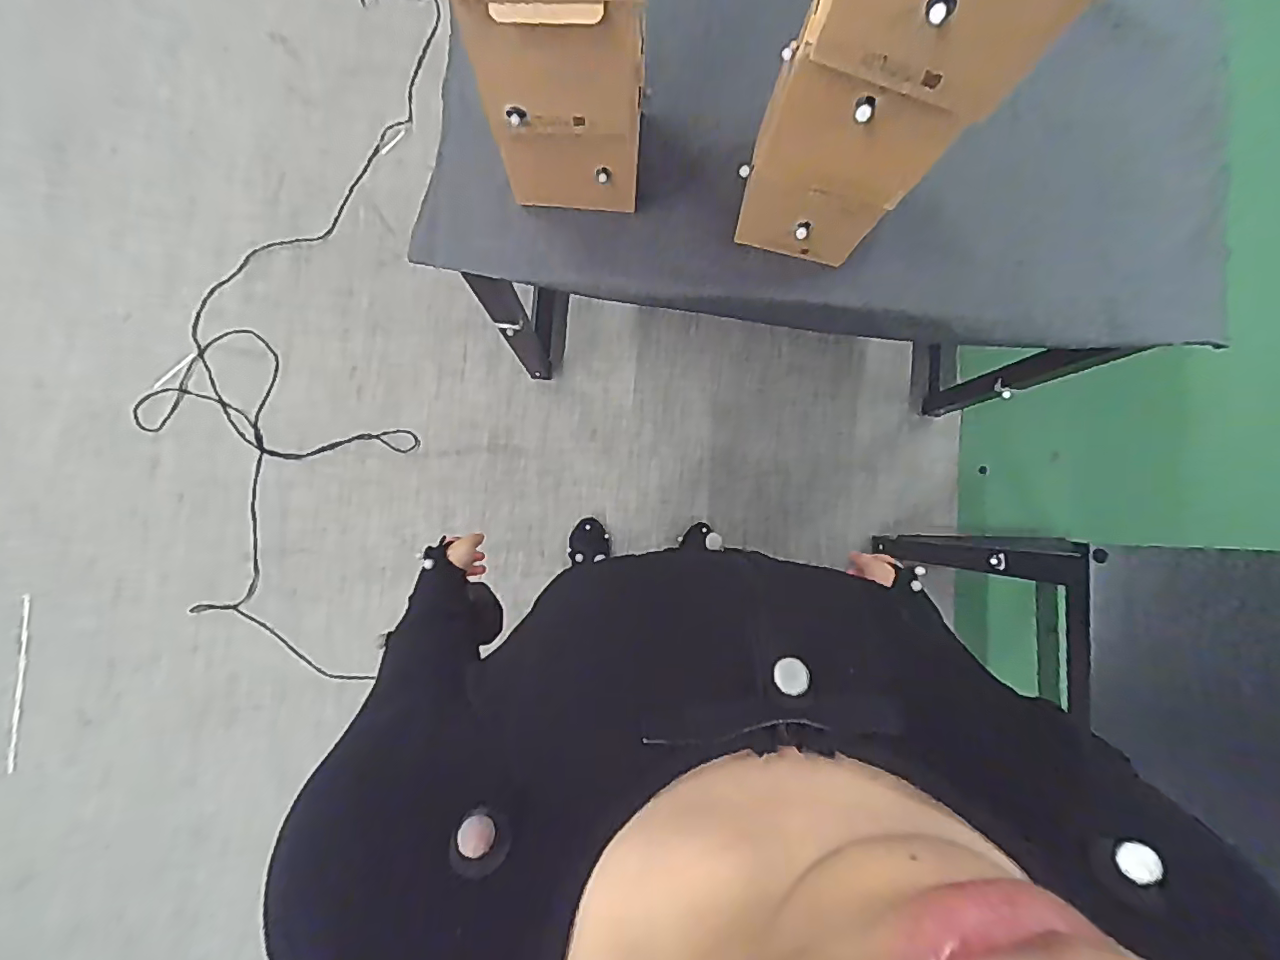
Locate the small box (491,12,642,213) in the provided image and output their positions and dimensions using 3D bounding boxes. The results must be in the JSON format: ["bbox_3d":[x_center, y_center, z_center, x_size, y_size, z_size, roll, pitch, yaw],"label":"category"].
[{"bbox_3d":[-0.089,-0.485,0.729,0.179,0.176,0.168,2,84,0],"label":"small box"}]

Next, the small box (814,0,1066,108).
[{"bbox_3d":[0.248,-0.430,0.402,0.168,0.176,0.179,19,85,1],"label":"small box"}]

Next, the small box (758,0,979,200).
[{"bbox_3d":[0.244,-0.430,0.567,0.179,0.176,0.168,18,85,1],"label":"small box"}]

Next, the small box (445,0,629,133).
[{"bbox_3d":[-0.095,-0.497,0.565,0.168,0.176,0.179,-2,83,-2],"label":"small box"}]

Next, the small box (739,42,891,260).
[{"bbox_3d":[0.238,-0.426,0.730,0.168,0.176,0.179,13,86,0],"label":"small box"}]
